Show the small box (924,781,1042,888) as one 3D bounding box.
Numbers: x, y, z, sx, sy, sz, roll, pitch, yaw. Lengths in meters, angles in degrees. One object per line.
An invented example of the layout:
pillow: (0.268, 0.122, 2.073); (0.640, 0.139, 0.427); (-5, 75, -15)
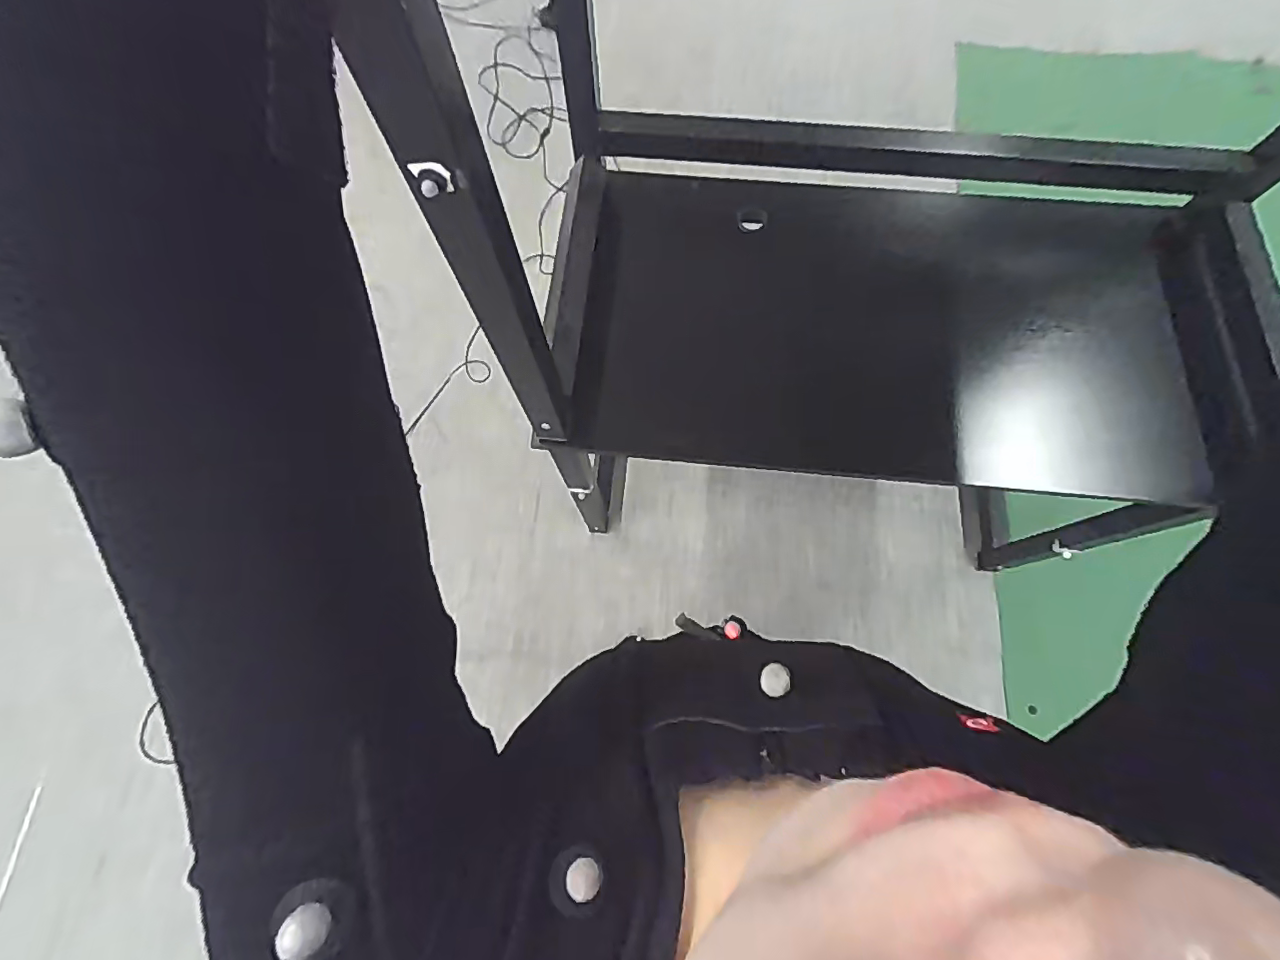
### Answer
small box: (0.783, 0.814, 1.260); (0.179, 0.176, 0.168); (4, 72, 4)
